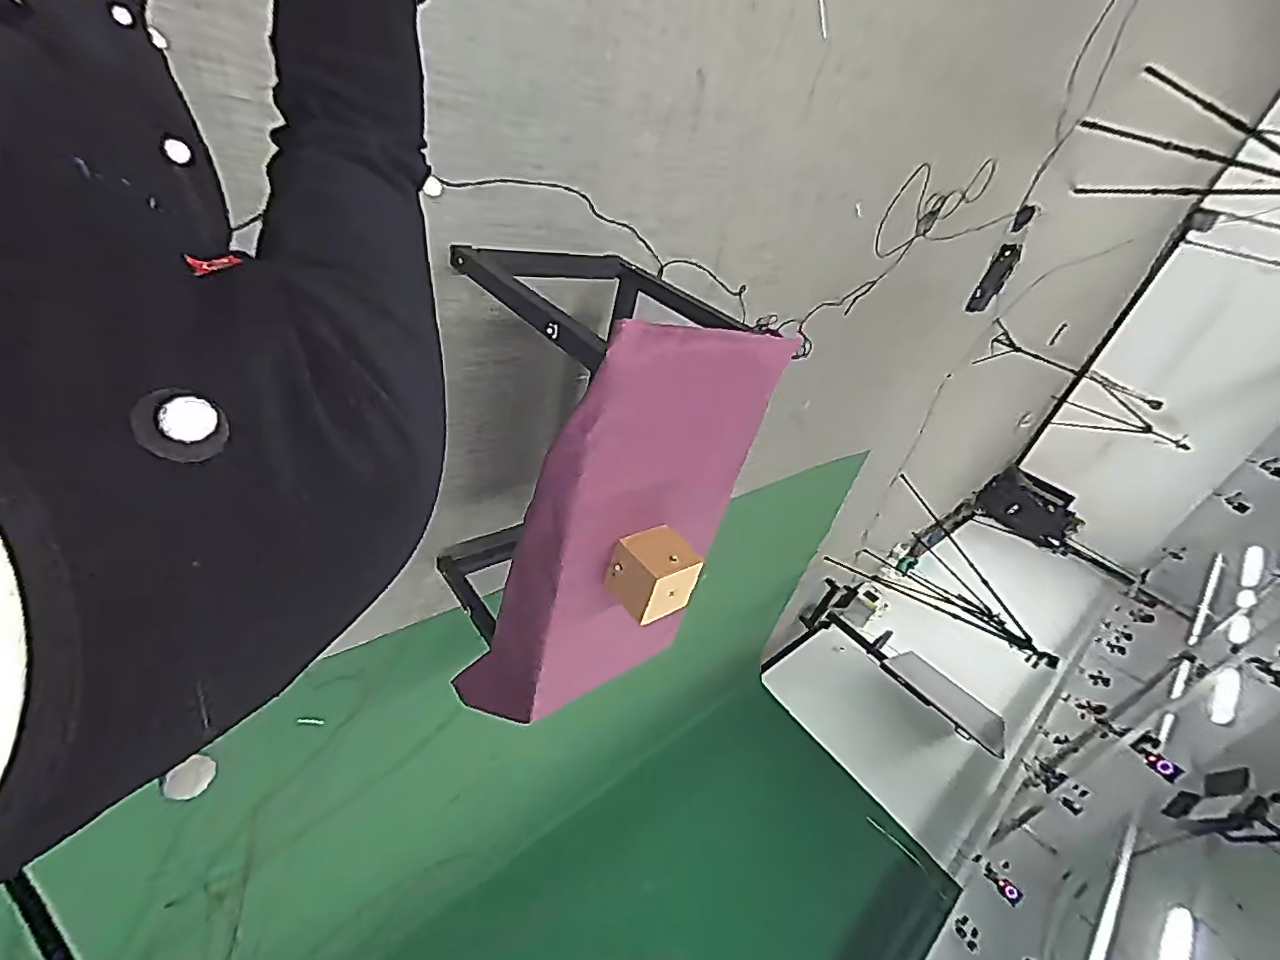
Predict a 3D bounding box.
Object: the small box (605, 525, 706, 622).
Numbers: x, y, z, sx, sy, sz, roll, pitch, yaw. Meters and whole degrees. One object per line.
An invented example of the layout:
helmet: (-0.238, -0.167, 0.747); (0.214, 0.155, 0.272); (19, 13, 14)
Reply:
small box: (0.038, 0.240, 1.434); (0.179, 0.176, 0.168); (-11, 130, -41)
